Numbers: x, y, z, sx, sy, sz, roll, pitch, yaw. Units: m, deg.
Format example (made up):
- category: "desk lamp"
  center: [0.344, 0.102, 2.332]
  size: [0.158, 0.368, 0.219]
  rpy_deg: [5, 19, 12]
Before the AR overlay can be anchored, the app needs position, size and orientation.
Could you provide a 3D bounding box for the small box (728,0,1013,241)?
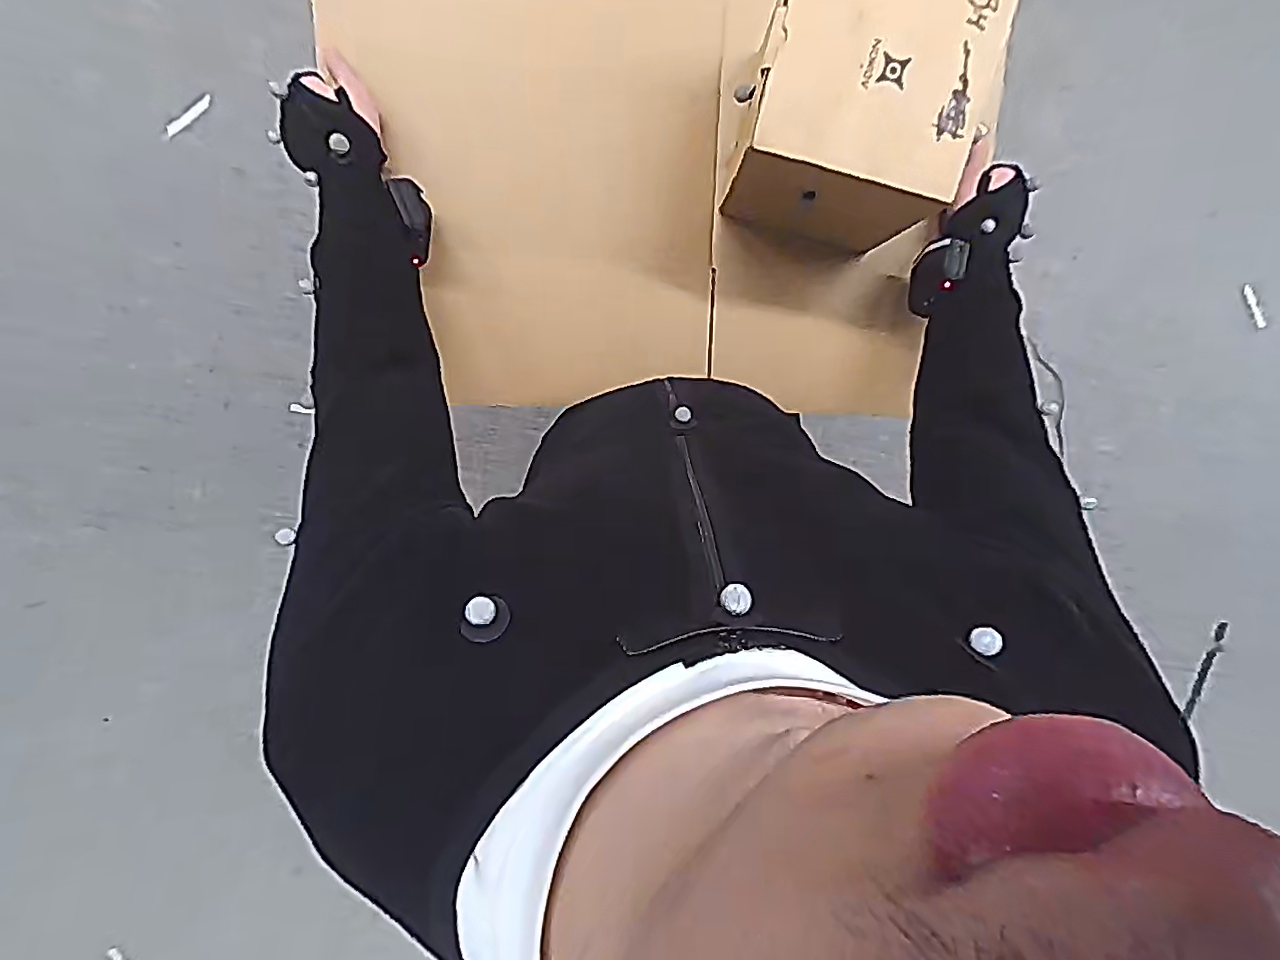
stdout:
- category: "small box"
  center: [0.192, -0.345, 0.509]
  size: [0.179, 0.176, 0.168]
  rpy_deg: [14, 100, -1]
